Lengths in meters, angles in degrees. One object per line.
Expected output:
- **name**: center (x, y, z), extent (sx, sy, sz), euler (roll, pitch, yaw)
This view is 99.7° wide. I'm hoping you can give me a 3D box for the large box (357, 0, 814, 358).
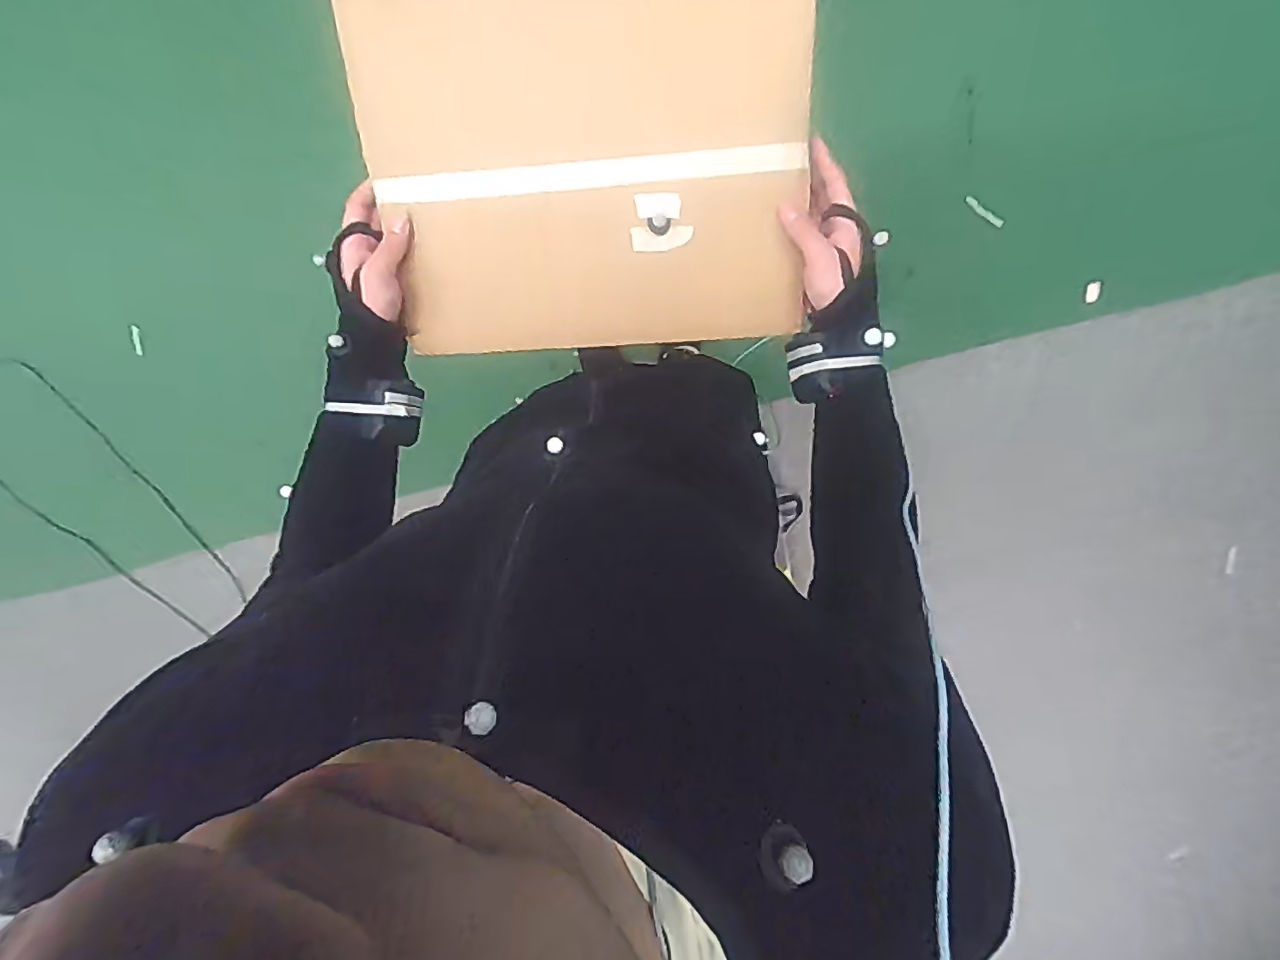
- **large box**: center (-0.038, -0.339, 0.652), extent (0.408, 0.320, 0.320), euler (-2, 113, 4)
